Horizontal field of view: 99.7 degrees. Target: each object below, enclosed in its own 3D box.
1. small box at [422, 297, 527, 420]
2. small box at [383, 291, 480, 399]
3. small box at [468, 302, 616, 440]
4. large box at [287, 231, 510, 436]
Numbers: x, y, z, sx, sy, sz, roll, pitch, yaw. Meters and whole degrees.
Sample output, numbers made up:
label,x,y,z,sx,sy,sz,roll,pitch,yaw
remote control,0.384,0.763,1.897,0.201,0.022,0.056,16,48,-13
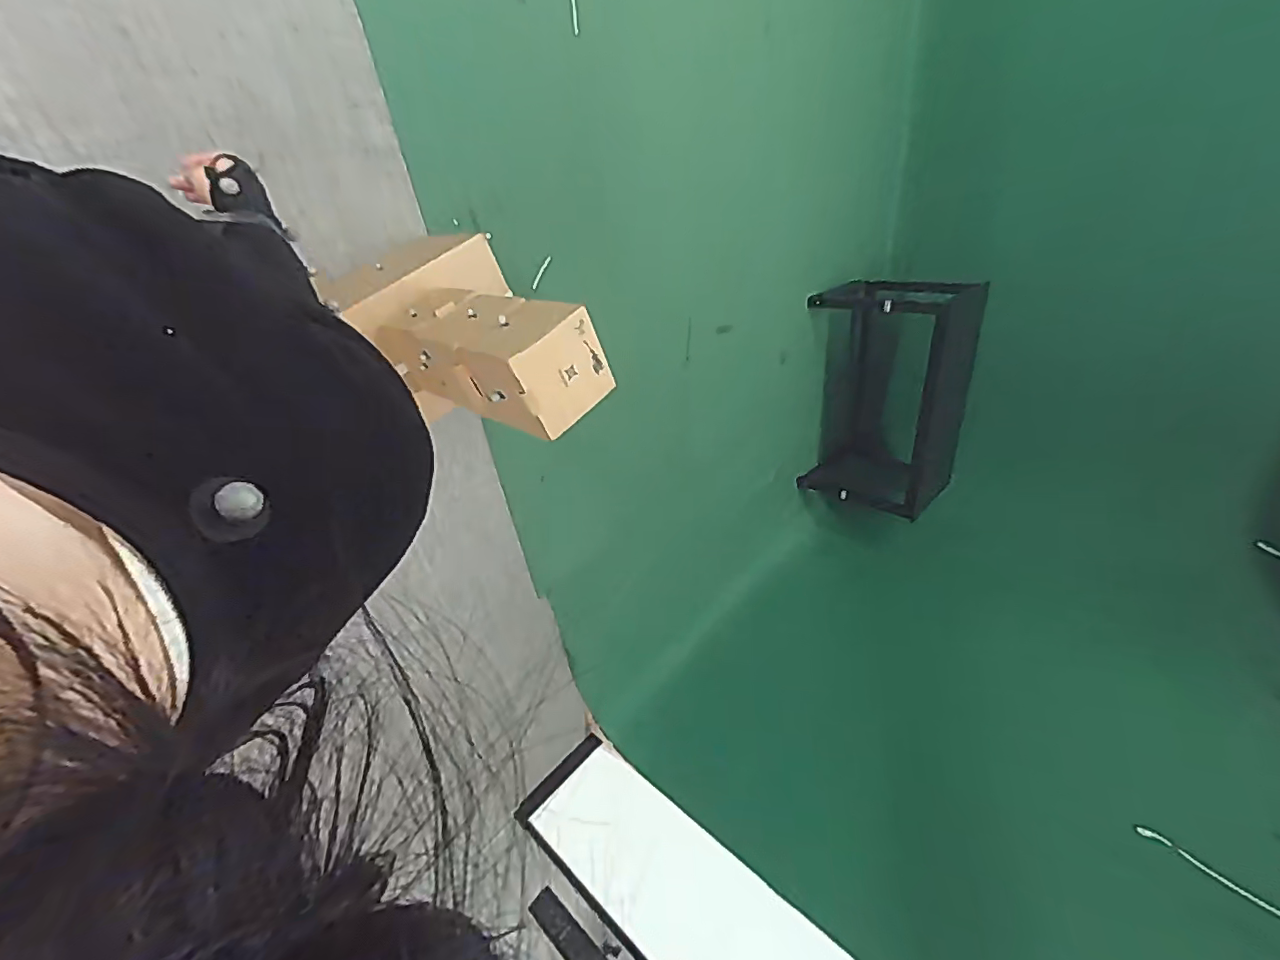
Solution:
label,x,y,z,sx,sy,sz,roll,pitch,yaw
small box,-0.299,-0.243,1.062,0.179,0.176,0.168,-46,134,-26
small box,-0.414,-0.292,1.167,0.168,0.176,0.179,-45,134,-26
small box,-0.178,-0.199,0.958,0.179,0.176,0.168,-44,134,-25
large box,-0.559,-0.374,1.350,0.408,0.320,0.320,-47,136,-27
